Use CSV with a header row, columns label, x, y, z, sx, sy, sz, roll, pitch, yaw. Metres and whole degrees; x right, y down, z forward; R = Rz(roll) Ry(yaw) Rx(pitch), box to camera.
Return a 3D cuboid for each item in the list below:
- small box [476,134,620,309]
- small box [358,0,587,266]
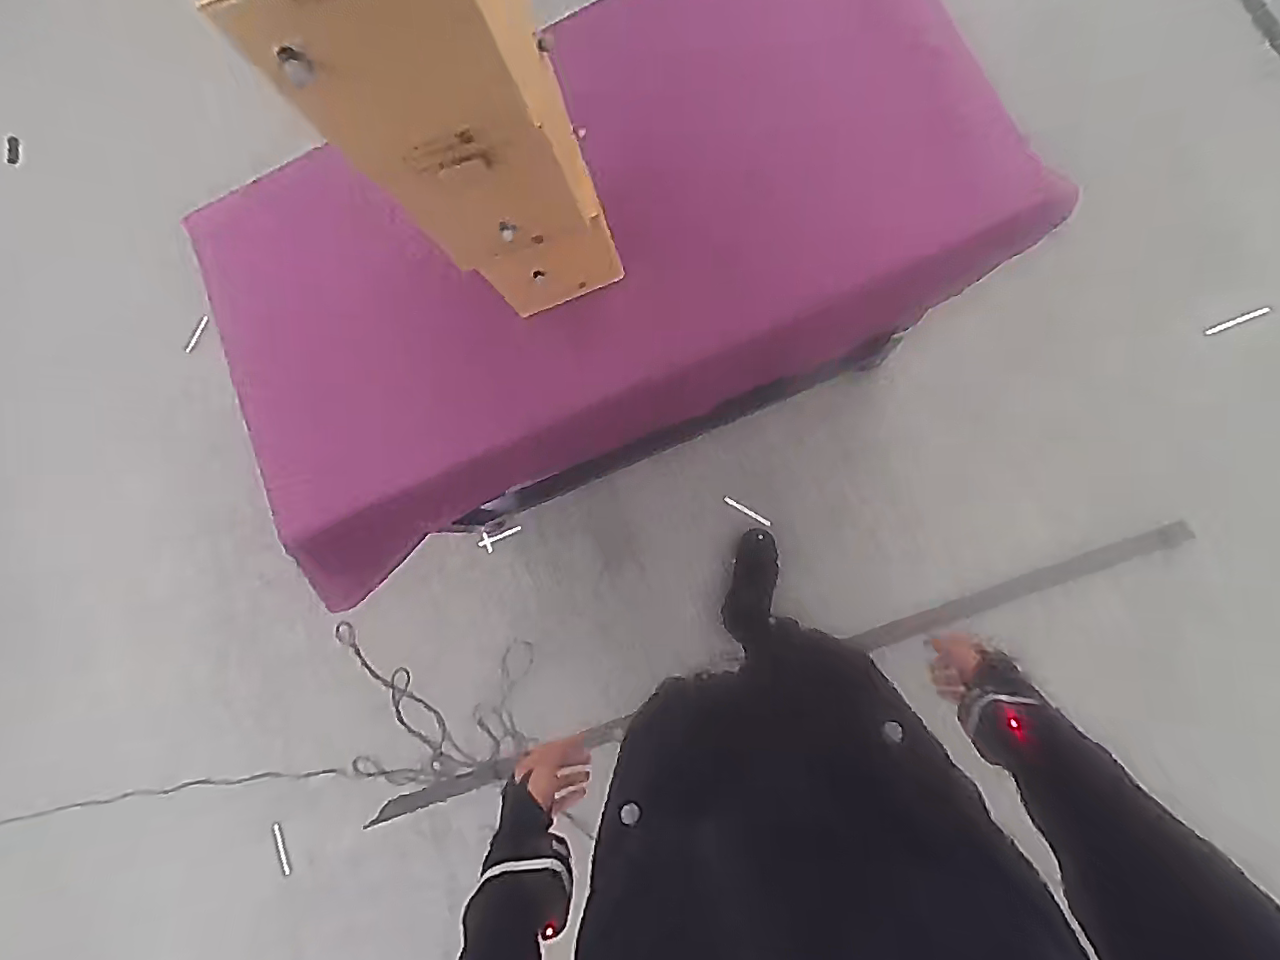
label,x,y,z,sx,sy,sz,roll,pitch,yaw
small box,-0.138,-0.358,0.739,0.168,0.176,0.179,-19,80,7
small box,-0.166,-0.364,0.577,0.168,0.176,0.179,-13,82,8
